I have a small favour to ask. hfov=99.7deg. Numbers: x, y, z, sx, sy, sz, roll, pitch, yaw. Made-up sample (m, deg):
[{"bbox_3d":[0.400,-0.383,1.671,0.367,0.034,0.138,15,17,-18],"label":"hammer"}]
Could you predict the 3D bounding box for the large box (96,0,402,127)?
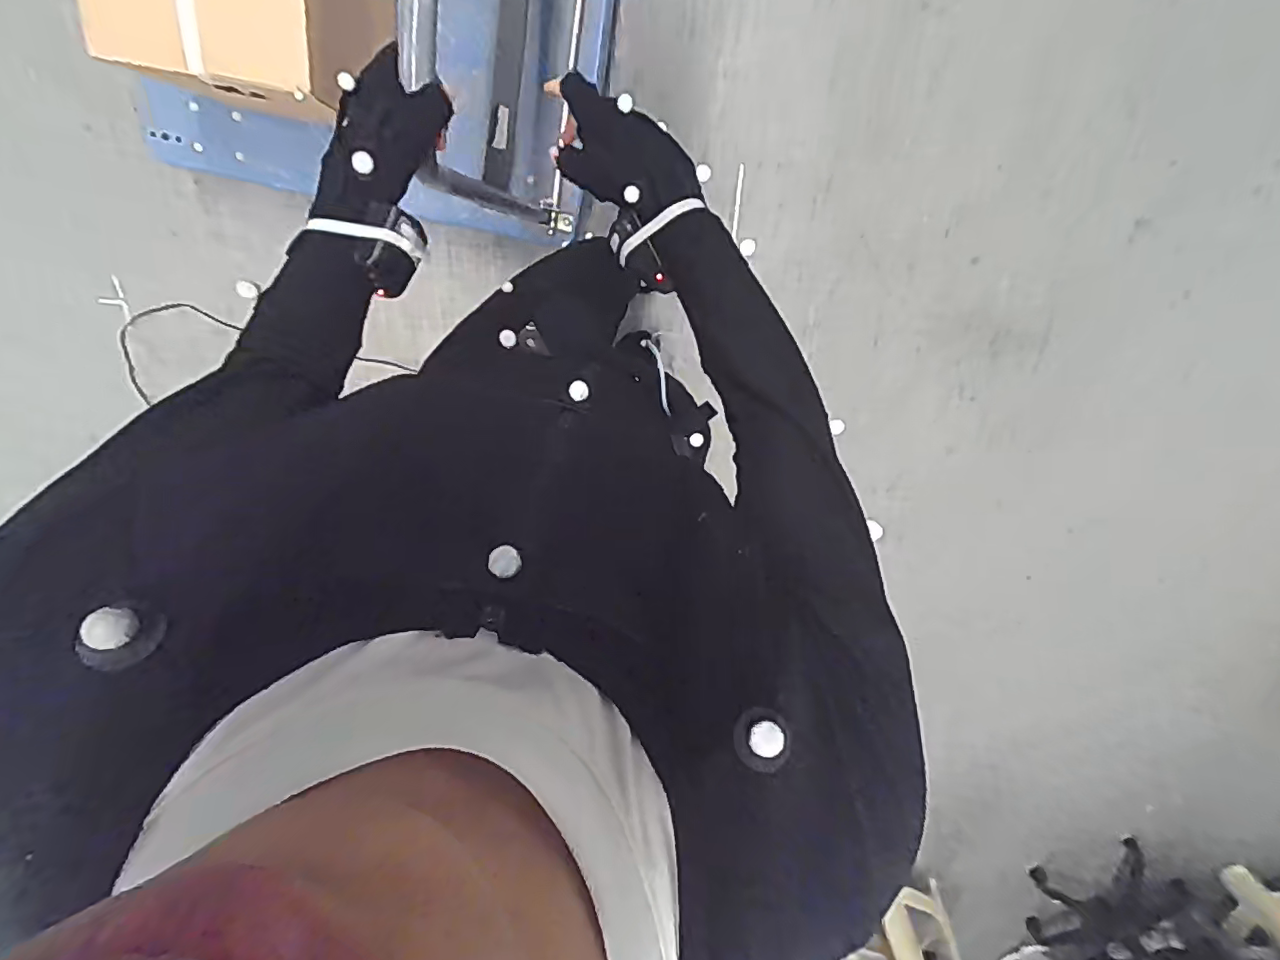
[{"bbox_3d":[-0.589,-0.834,0.842,0.320,0.320,0.408,9,114,-2],"label":"large box"}]
